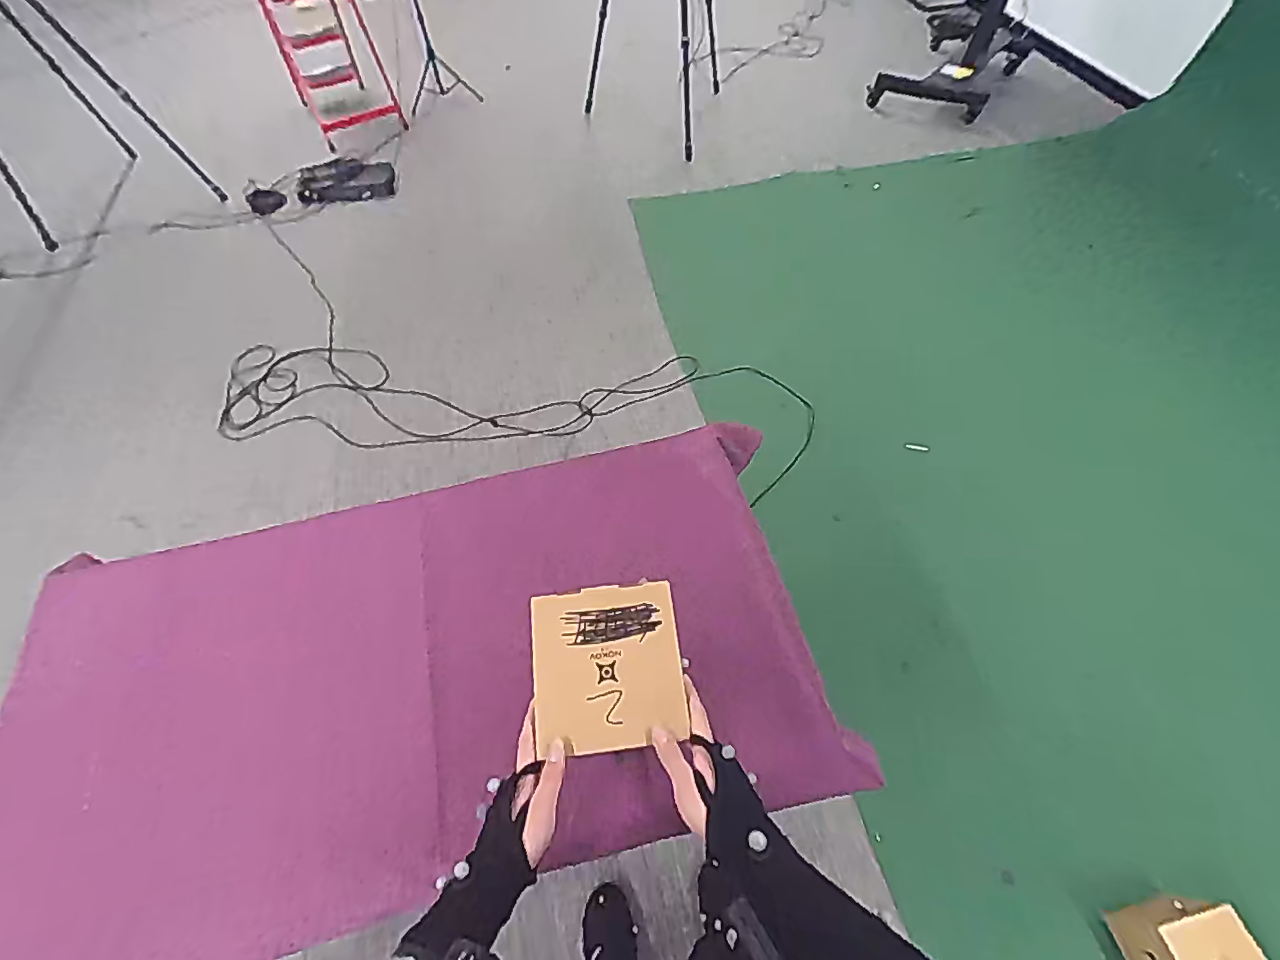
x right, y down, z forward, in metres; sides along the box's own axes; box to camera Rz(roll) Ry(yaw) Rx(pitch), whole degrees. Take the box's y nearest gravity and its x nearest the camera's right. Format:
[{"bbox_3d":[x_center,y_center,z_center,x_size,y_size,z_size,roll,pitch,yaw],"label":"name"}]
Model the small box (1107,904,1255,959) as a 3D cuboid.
[{"bbox_3d":[1.136,1.014,1.127,0.179,0.176,0.168,-11,57,-7],"label":"small box"}]
